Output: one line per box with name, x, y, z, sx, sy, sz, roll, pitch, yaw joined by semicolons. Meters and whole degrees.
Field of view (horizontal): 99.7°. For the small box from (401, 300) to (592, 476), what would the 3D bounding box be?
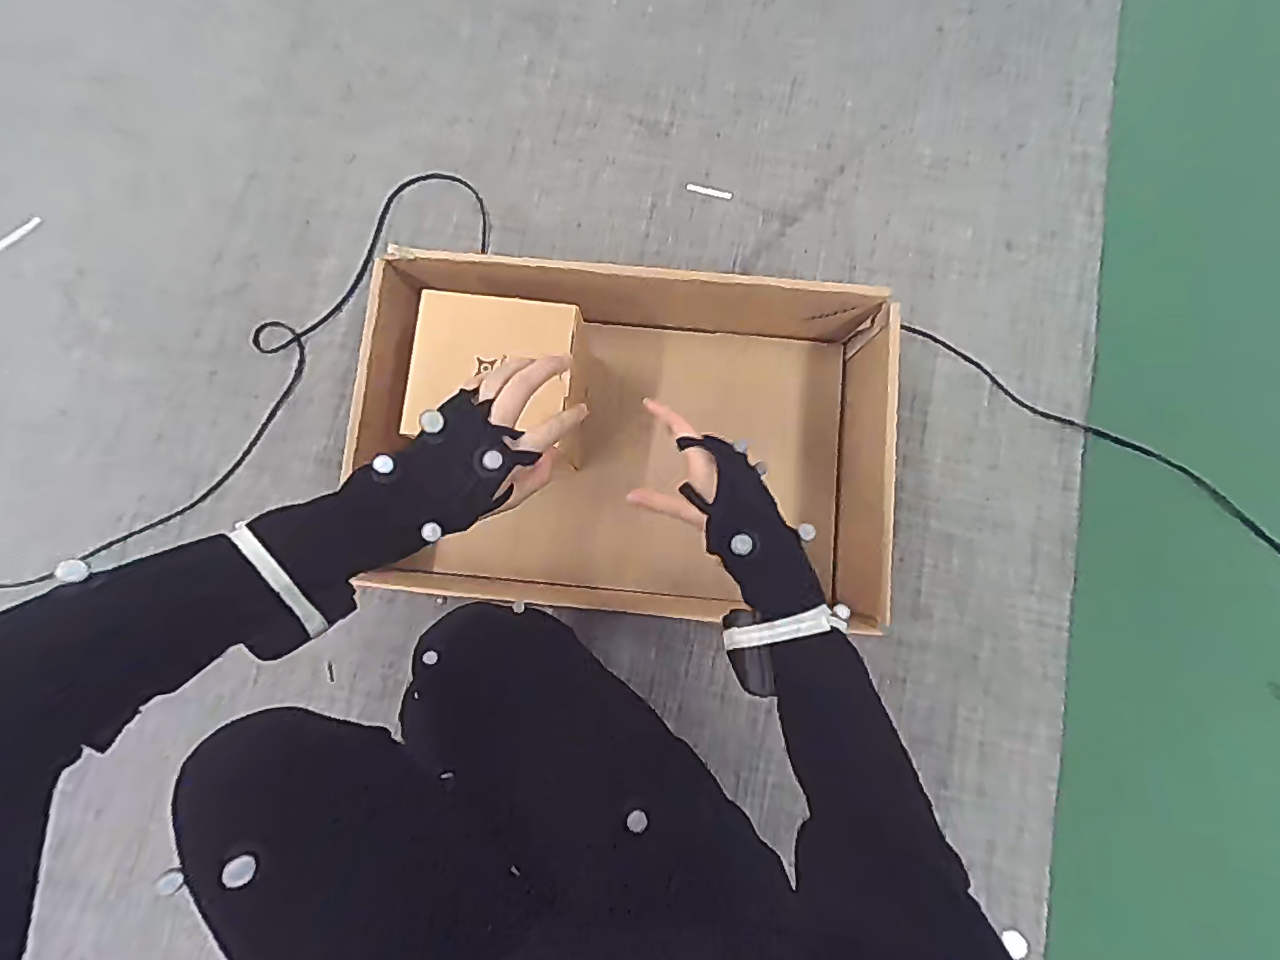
small box;-0.162;-0.102;0.669;0.179;0.176;0.168;6;83;1
